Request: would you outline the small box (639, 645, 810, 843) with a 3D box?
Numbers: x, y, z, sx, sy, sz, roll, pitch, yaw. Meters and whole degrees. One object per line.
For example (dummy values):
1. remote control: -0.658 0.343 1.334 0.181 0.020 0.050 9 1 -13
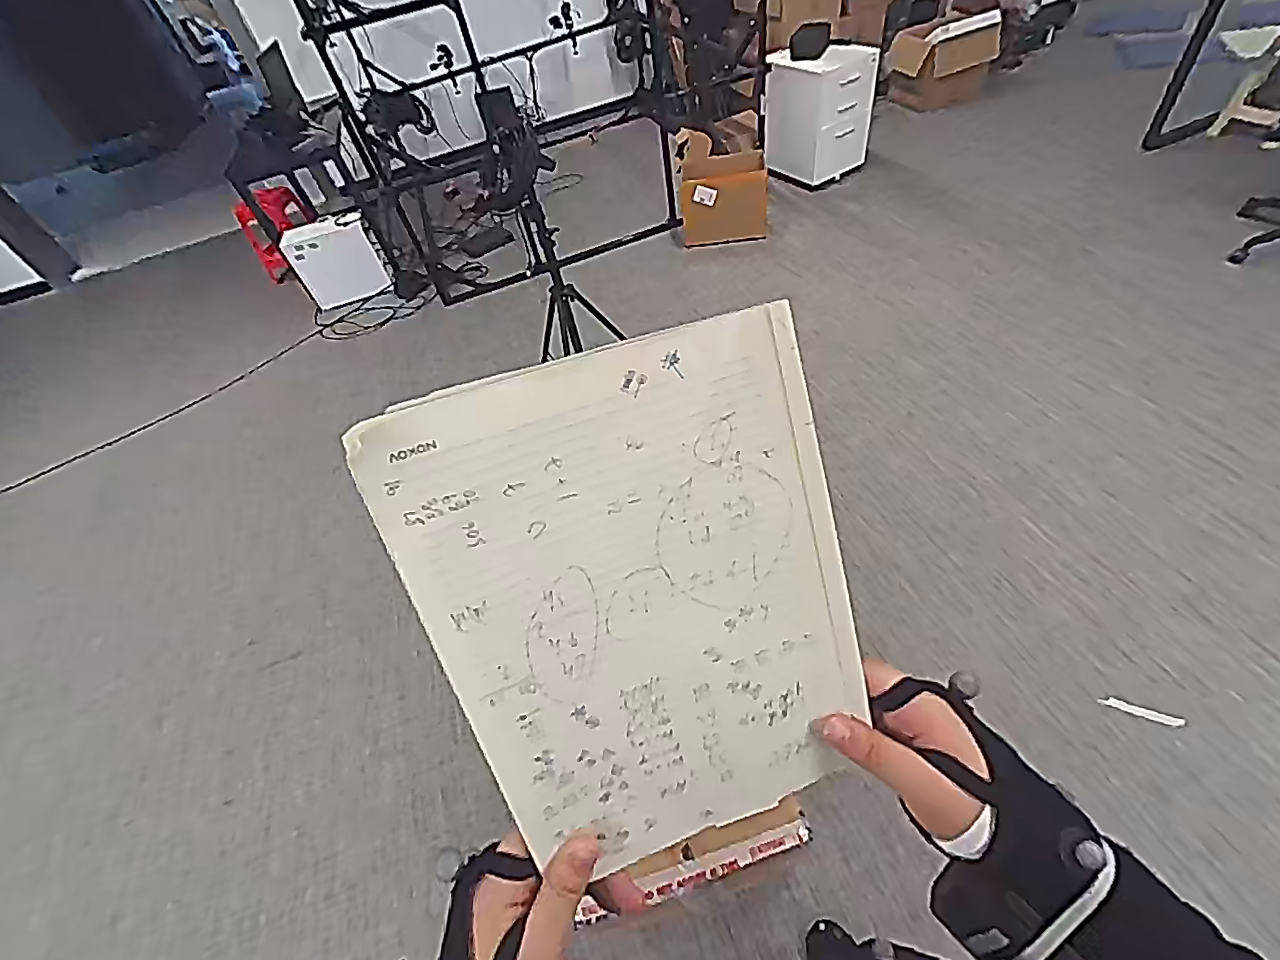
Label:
1. small box: 0.101 0.349 0.713 0.168 0.176 0.179 -15 51 -4
